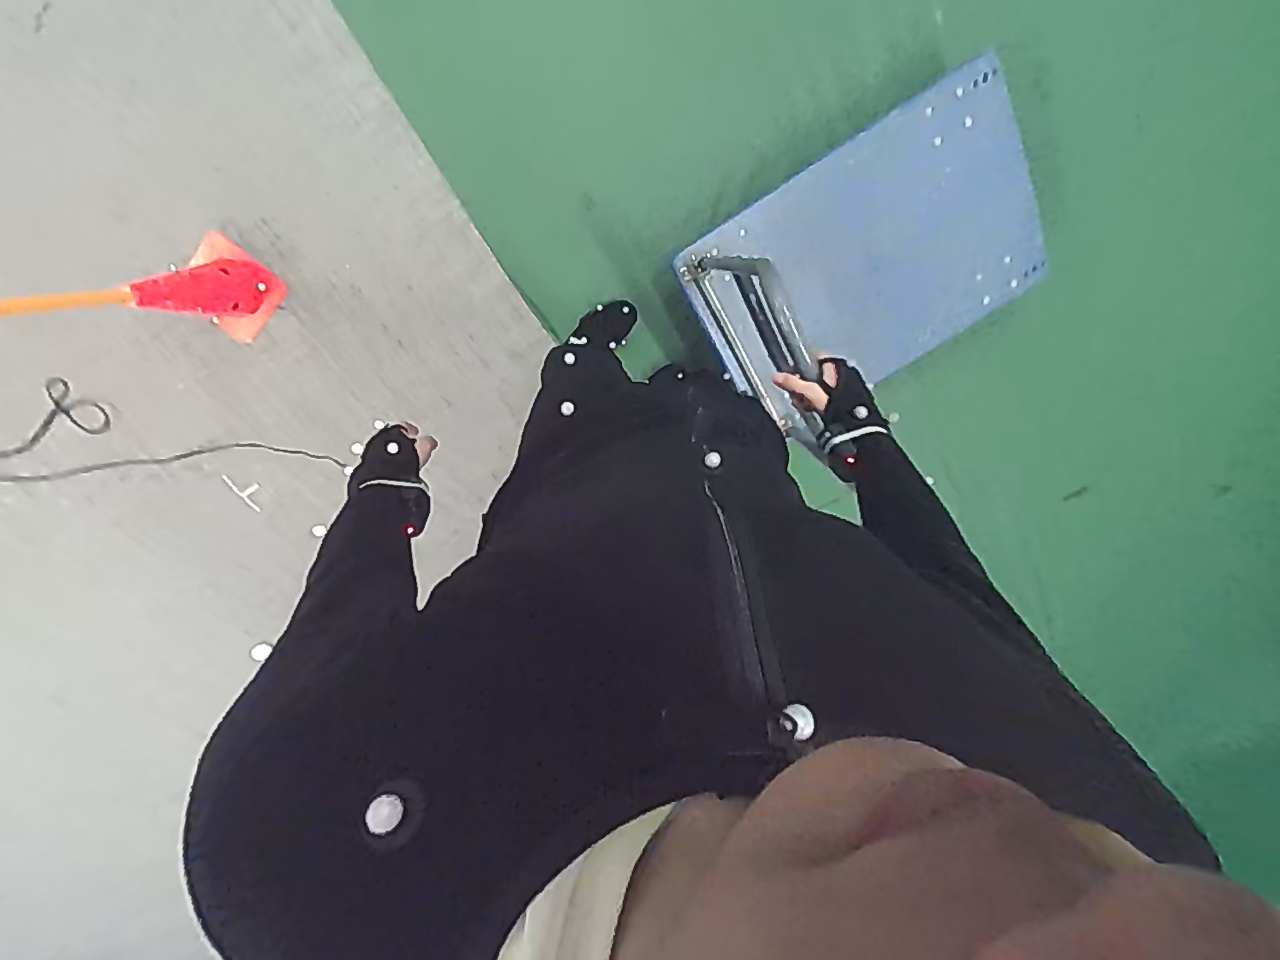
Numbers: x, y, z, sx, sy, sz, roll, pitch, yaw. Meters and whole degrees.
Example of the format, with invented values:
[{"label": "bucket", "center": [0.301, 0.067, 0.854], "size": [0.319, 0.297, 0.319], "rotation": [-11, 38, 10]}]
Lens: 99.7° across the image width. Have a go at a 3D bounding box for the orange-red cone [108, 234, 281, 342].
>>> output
[{"label": "orange-red cone", "center": [-1.004, -0.413, 1.180], "size": [0.199, 0.360, 0.198], "rotation": [42, 100, -19]}]
